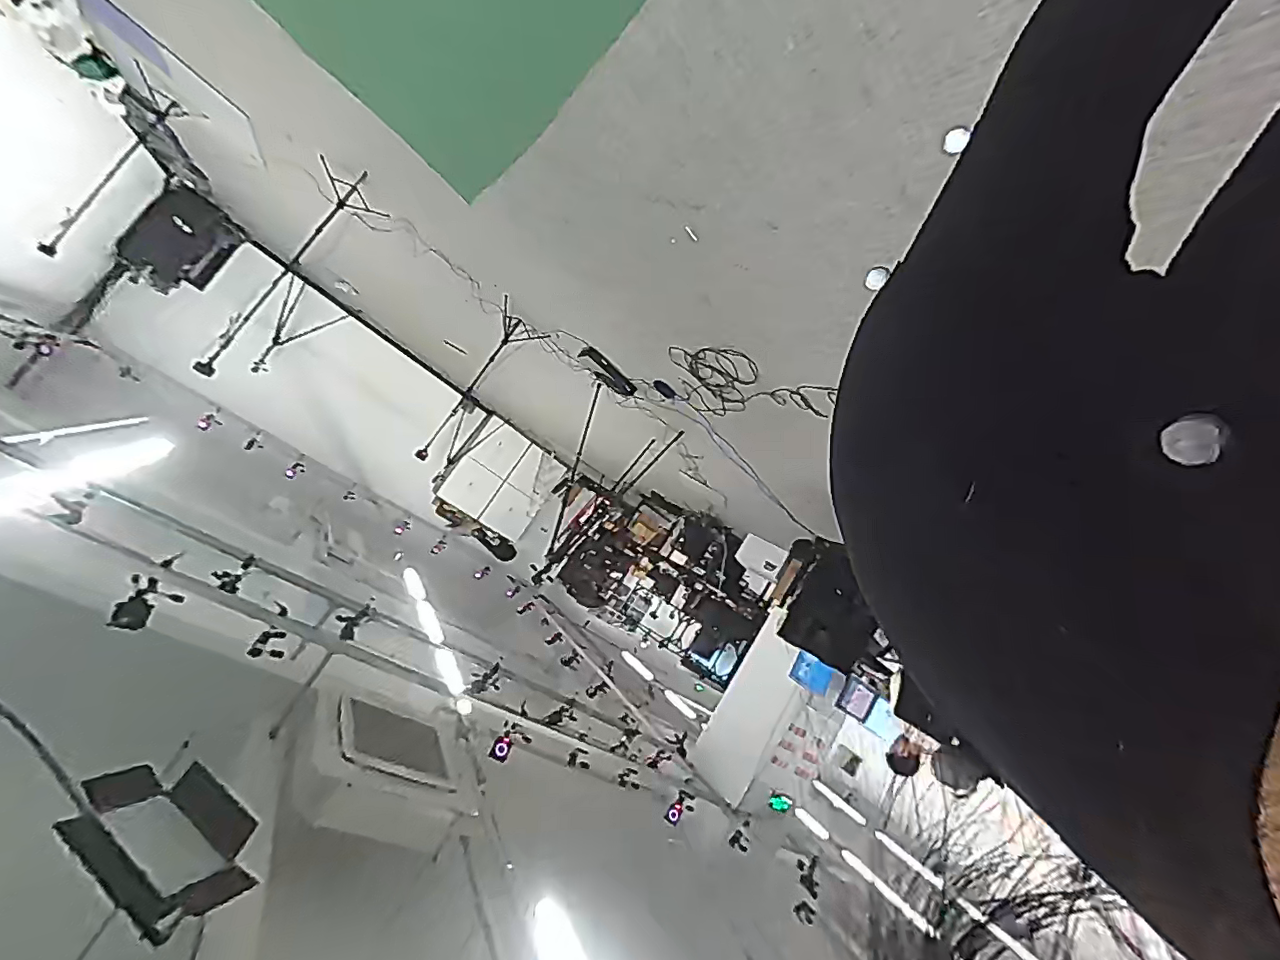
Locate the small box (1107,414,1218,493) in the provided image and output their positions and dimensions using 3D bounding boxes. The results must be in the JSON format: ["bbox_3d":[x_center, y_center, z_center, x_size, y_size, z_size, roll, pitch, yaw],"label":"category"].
[{"bbox_3d":[1.520,-0.081,1.566,0.168,0.176,0.179,38,170,-21],"label":"small box"}]
